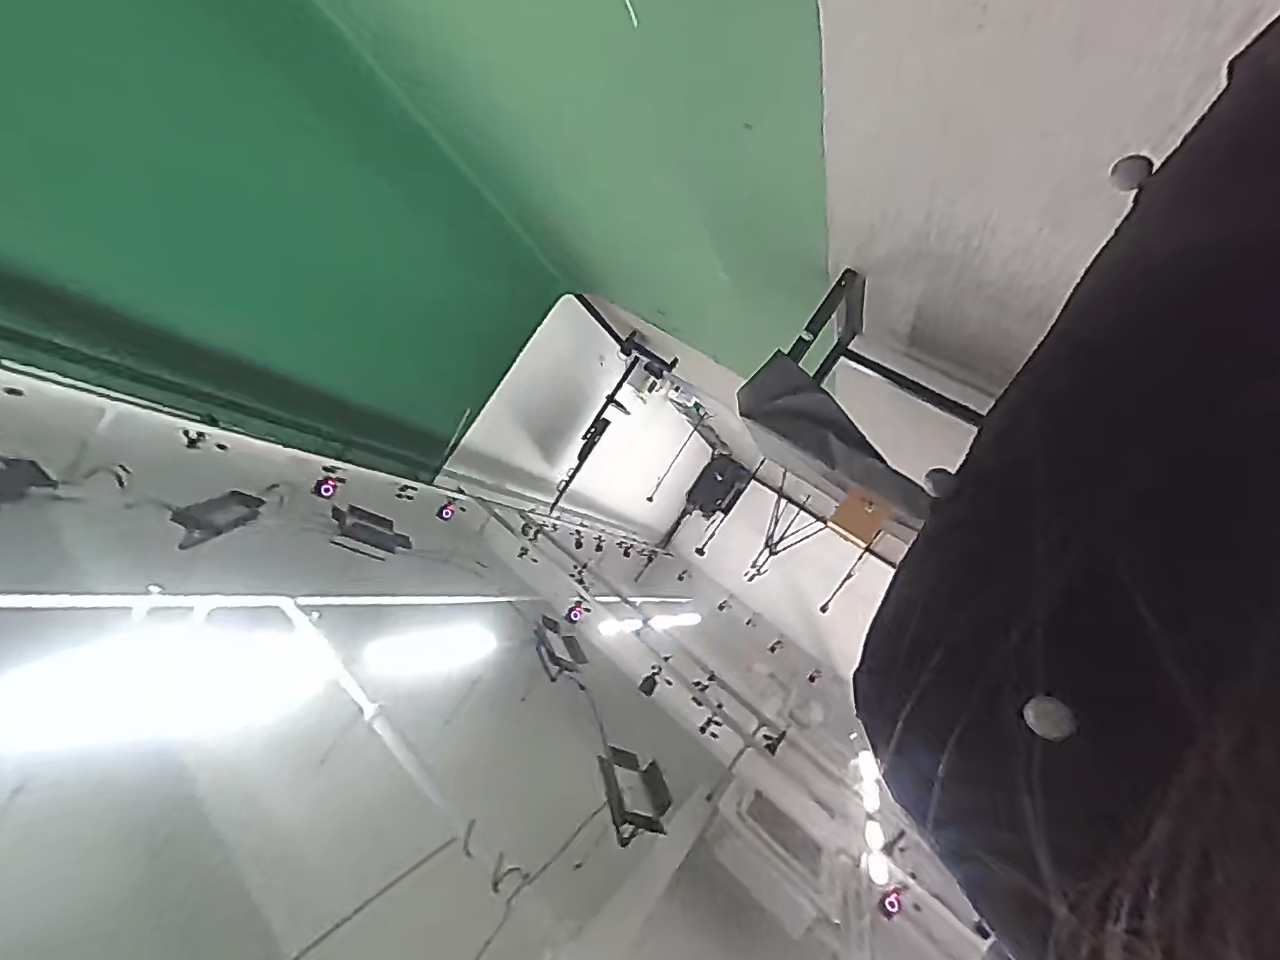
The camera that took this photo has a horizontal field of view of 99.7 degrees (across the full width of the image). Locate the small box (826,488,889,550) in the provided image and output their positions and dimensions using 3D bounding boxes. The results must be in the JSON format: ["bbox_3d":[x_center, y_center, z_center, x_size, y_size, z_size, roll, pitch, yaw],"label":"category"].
[{"bbox_3d":[0.838,0.150,2.089,0.168,0.176,0.179,34,-179,21],"label":"small box"}]

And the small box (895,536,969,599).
[{"bbox_3d":[1.072,0.317,1.985,0.168,0.176,0.179,35,-177,21],"label":"small box"}]
